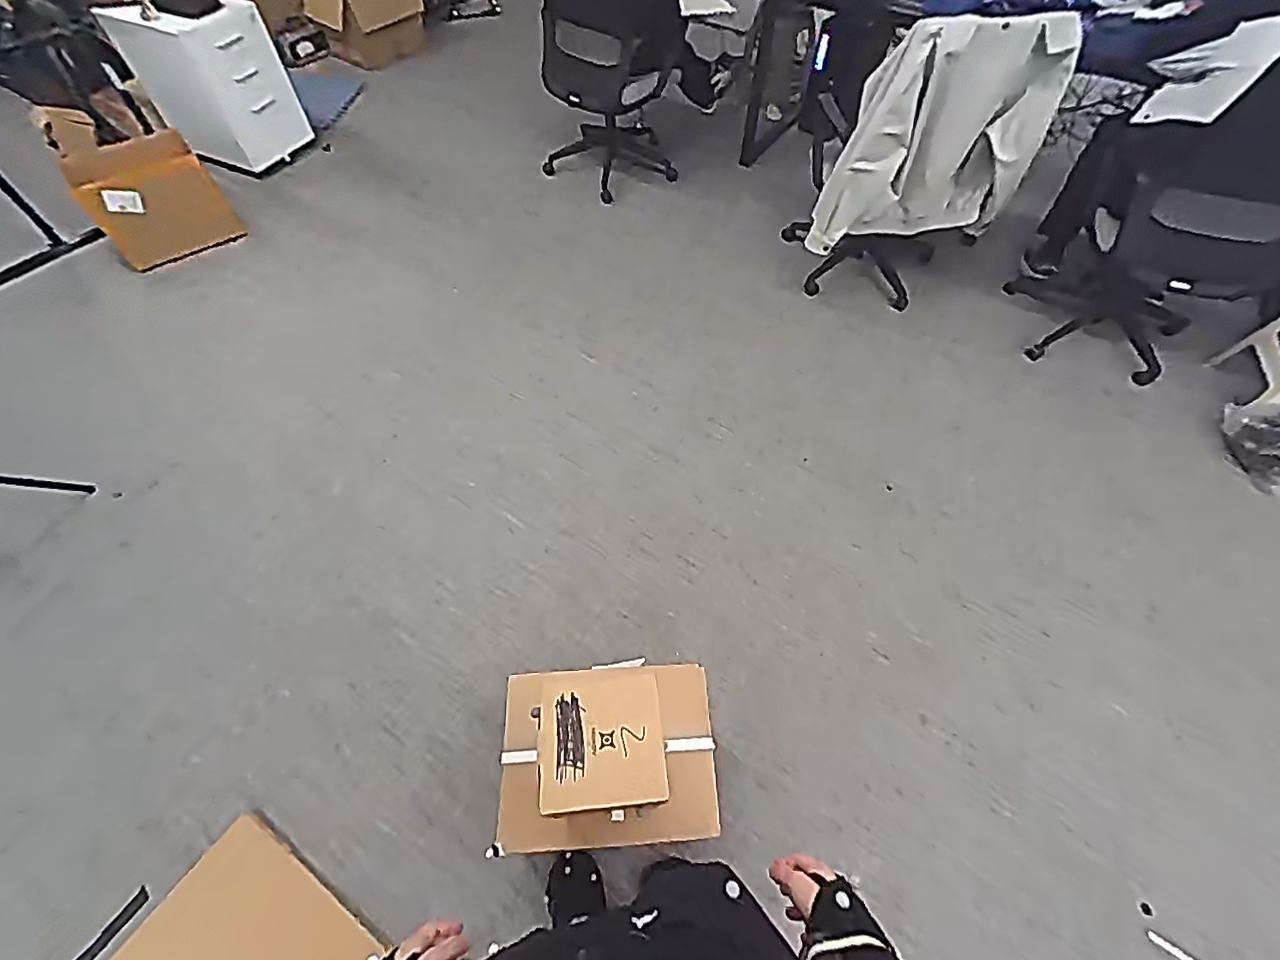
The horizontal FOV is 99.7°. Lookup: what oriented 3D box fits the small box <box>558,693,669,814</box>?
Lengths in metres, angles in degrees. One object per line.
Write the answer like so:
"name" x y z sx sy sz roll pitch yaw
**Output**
"small box" -0.048 0.489 0.961 0.179 0.176 0.168 -4 58 -5
